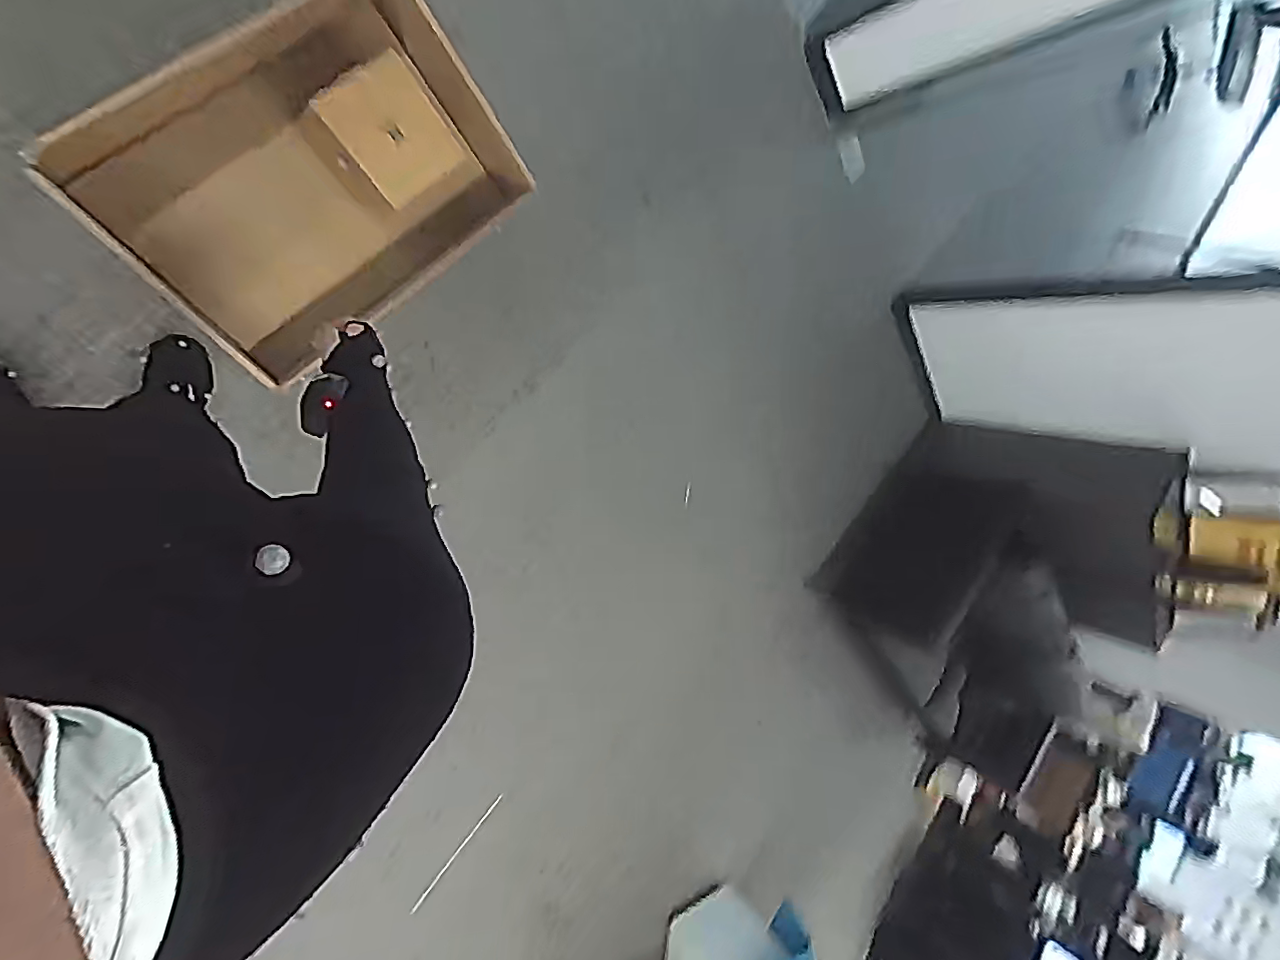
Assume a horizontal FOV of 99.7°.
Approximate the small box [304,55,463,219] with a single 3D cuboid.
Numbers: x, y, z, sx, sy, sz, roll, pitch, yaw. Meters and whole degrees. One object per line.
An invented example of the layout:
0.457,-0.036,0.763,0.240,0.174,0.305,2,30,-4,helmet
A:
-0.448,-0.581,0.944,0.168,0.176,0.179,-47,125,-16,small box
